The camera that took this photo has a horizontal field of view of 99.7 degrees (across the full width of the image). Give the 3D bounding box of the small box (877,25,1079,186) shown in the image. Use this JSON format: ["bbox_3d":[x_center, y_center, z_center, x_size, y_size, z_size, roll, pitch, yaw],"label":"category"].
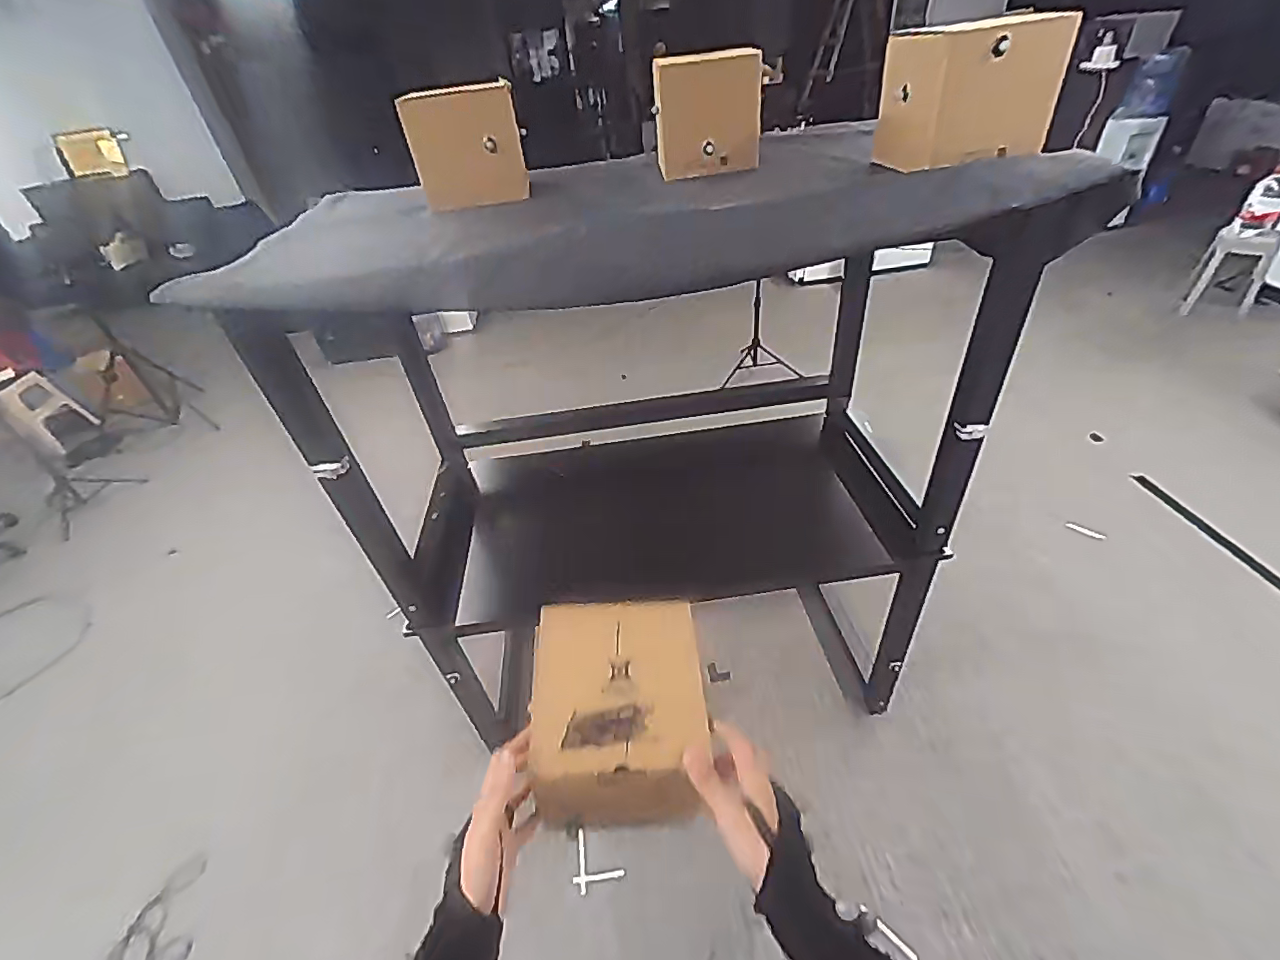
[{"bbox_3d":[0.469,-0.541,0.789,0.168,0.176,0.179,-9,38,-1],"label":"small box"}]

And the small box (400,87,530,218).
[{"bbox_3d":[-0.296,-0.585,0.964,0.179,0.176,0.168,-10,39,-4],"label":"small box"}]
